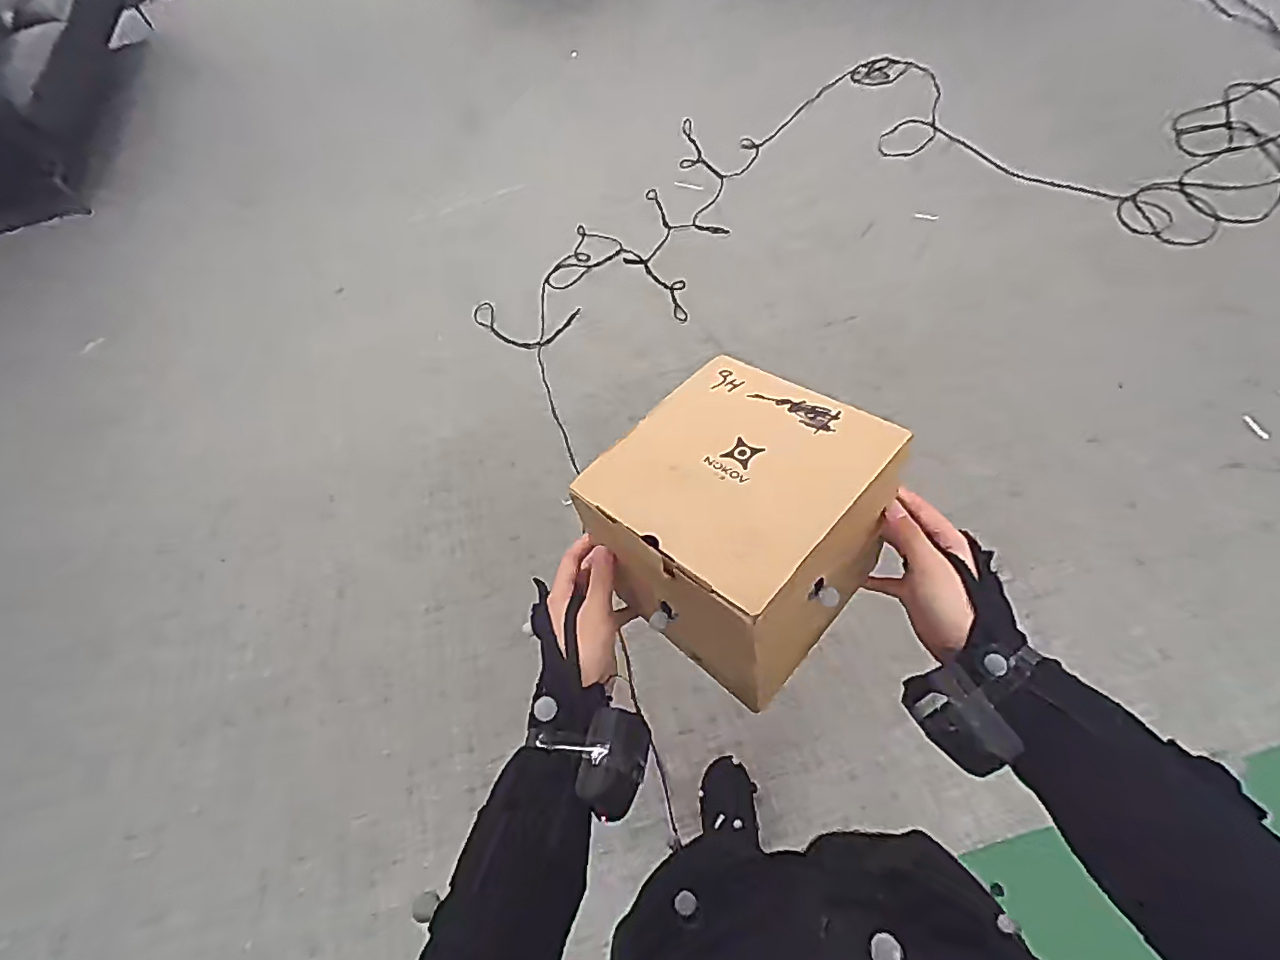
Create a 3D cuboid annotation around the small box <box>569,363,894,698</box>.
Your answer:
[{"bbox_3d":[0.077,0.042,0.441,0.168,0.176,0.179,33,65,34],"label":"small box"}]
